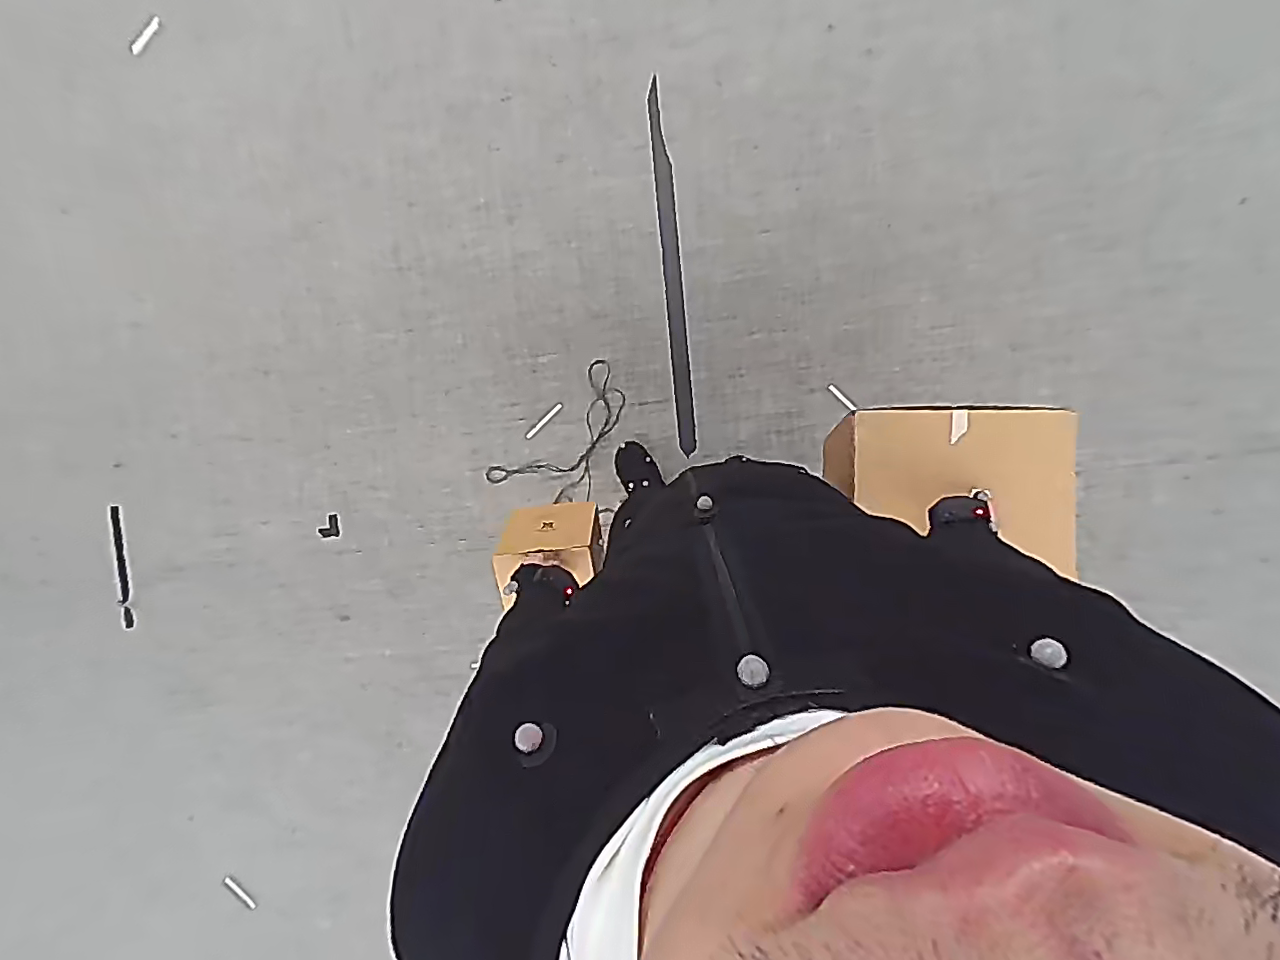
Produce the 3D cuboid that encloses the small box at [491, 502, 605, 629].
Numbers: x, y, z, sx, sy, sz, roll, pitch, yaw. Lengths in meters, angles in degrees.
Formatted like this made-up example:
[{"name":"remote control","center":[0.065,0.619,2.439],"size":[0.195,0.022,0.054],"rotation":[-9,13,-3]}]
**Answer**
[{"name":"small box","center":[-0.158,0.159,0.995],"size":[0.168,0.179,0.176],"rotation":[-5,112,2]}]
